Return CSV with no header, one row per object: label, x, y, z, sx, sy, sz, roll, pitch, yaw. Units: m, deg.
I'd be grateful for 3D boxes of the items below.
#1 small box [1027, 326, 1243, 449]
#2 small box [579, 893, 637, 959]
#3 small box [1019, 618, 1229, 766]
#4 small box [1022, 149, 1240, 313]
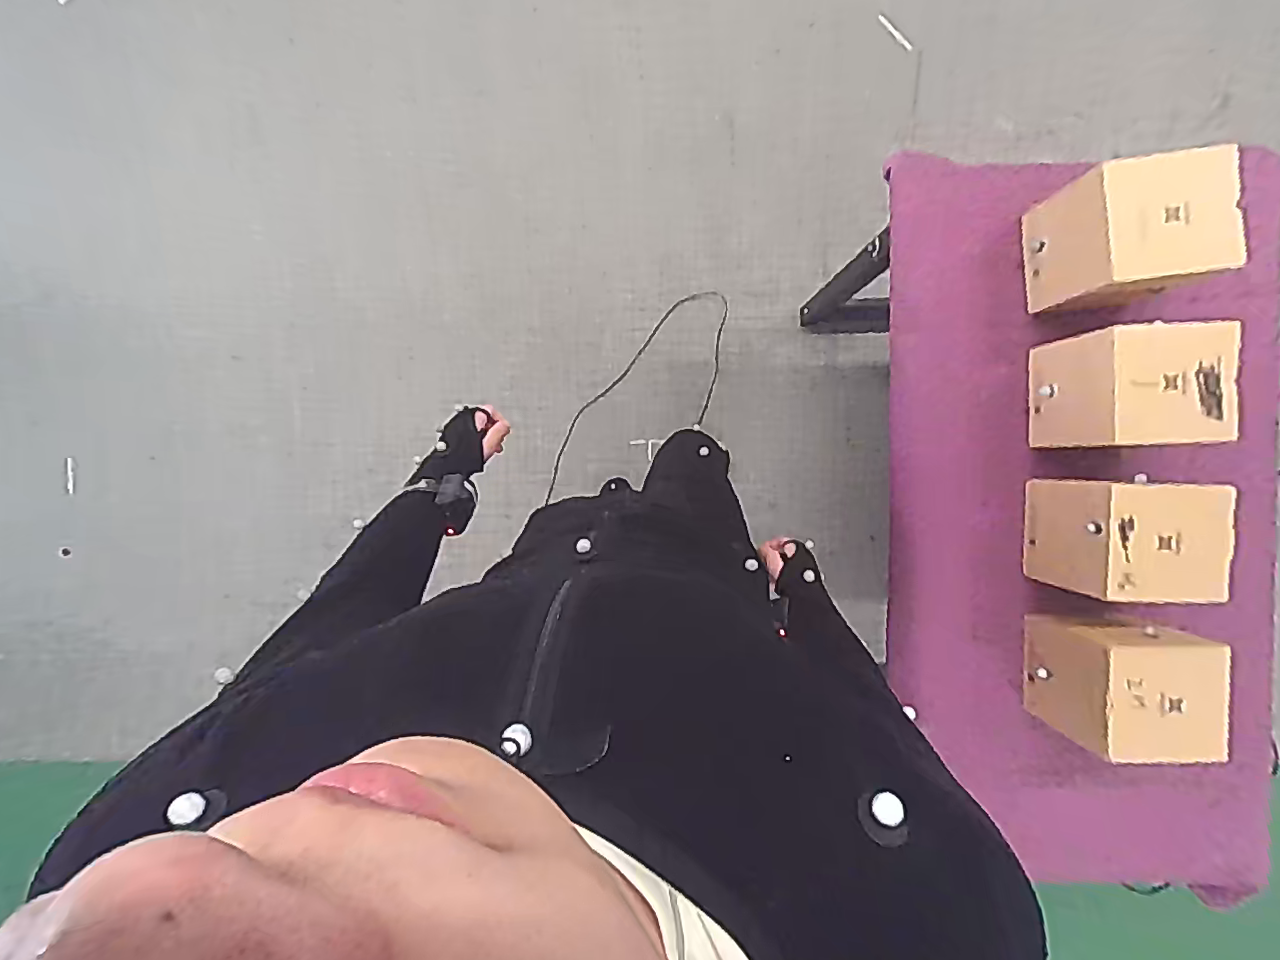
small box,0.731,-0.132,0.817,0.179,0.176,0.168,-1,92,1
small box,-0.092,1.368,1.604,0.168,0.176,0.179,-1,93,0
small box,0.732,0.315,0.834,0.179,0.176,0.168,0,91,0
small box,0.718,-0.359,0.808,0.179,0.176,0.168,-6,92,1
